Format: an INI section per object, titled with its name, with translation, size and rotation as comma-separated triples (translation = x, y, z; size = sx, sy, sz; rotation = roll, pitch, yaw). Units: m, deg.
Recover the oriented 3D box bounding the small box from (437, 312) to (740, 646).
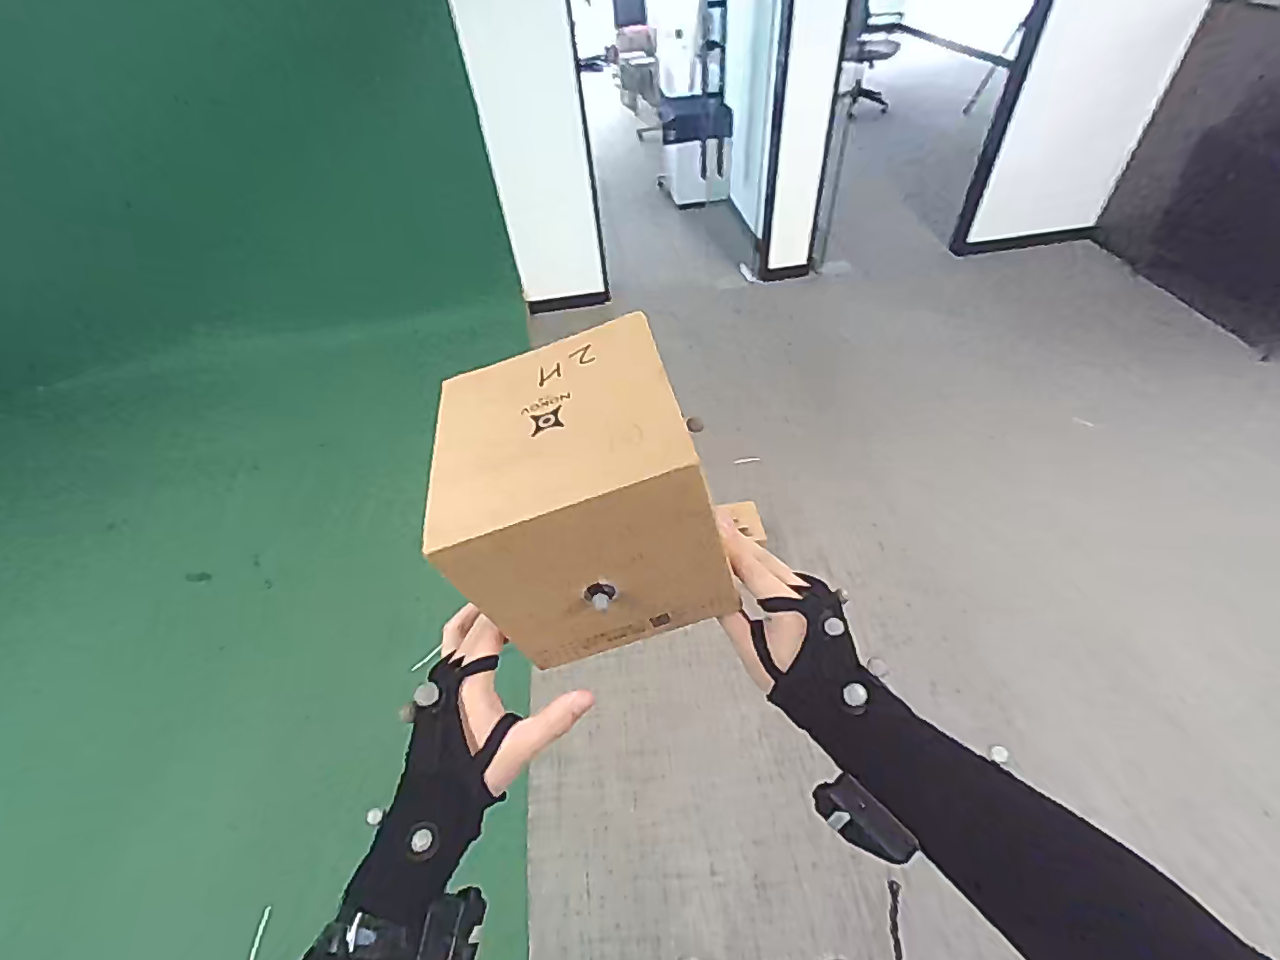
[small box]
translation = -0.031, 0.008, 0.418
size = 0.168, 0.176, 0.179
rotation = -18, 45, 5
